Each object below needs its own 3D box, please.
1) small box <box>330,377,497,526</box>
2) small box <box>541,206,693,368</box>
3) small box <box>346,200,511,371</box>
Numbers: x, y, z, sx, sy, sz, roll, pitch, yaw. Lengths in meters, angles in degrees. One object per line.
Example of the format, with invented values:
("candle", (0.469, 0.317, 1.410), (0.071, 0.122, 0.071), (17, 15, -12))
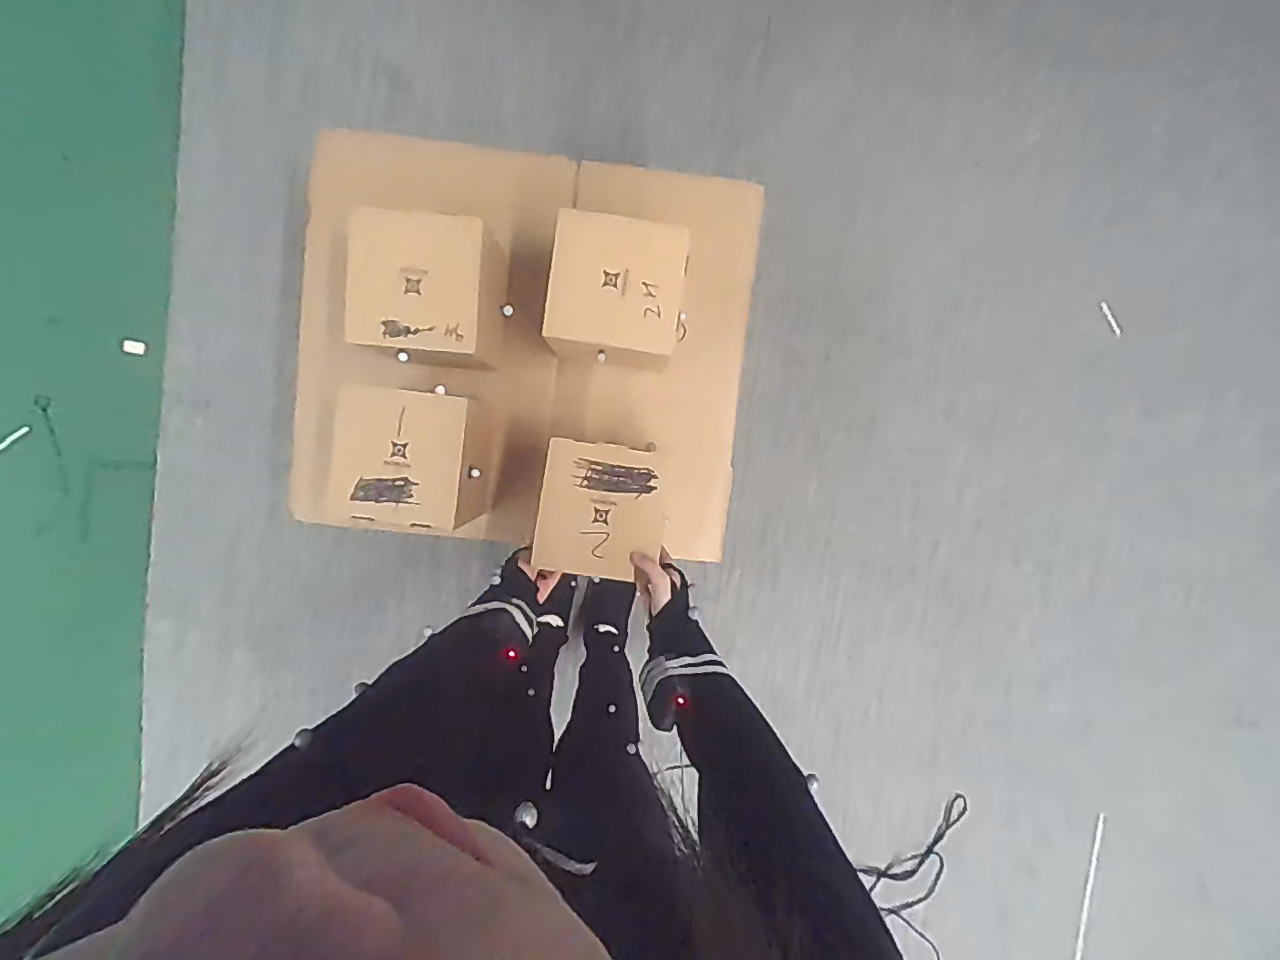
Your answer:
("small box", (-0.312, -0.041, 0.776), (0.168, 0.176, 0.179), (7, 93, -2))
("small box", (-0.030, -0.261, 0.771), (0.179, 0.176, 0.168), (9, 94, -1))
("small box", (-0.283, -0.260, 0.760), (0.168, 0.176, 0.179), (5, 93, -1))
